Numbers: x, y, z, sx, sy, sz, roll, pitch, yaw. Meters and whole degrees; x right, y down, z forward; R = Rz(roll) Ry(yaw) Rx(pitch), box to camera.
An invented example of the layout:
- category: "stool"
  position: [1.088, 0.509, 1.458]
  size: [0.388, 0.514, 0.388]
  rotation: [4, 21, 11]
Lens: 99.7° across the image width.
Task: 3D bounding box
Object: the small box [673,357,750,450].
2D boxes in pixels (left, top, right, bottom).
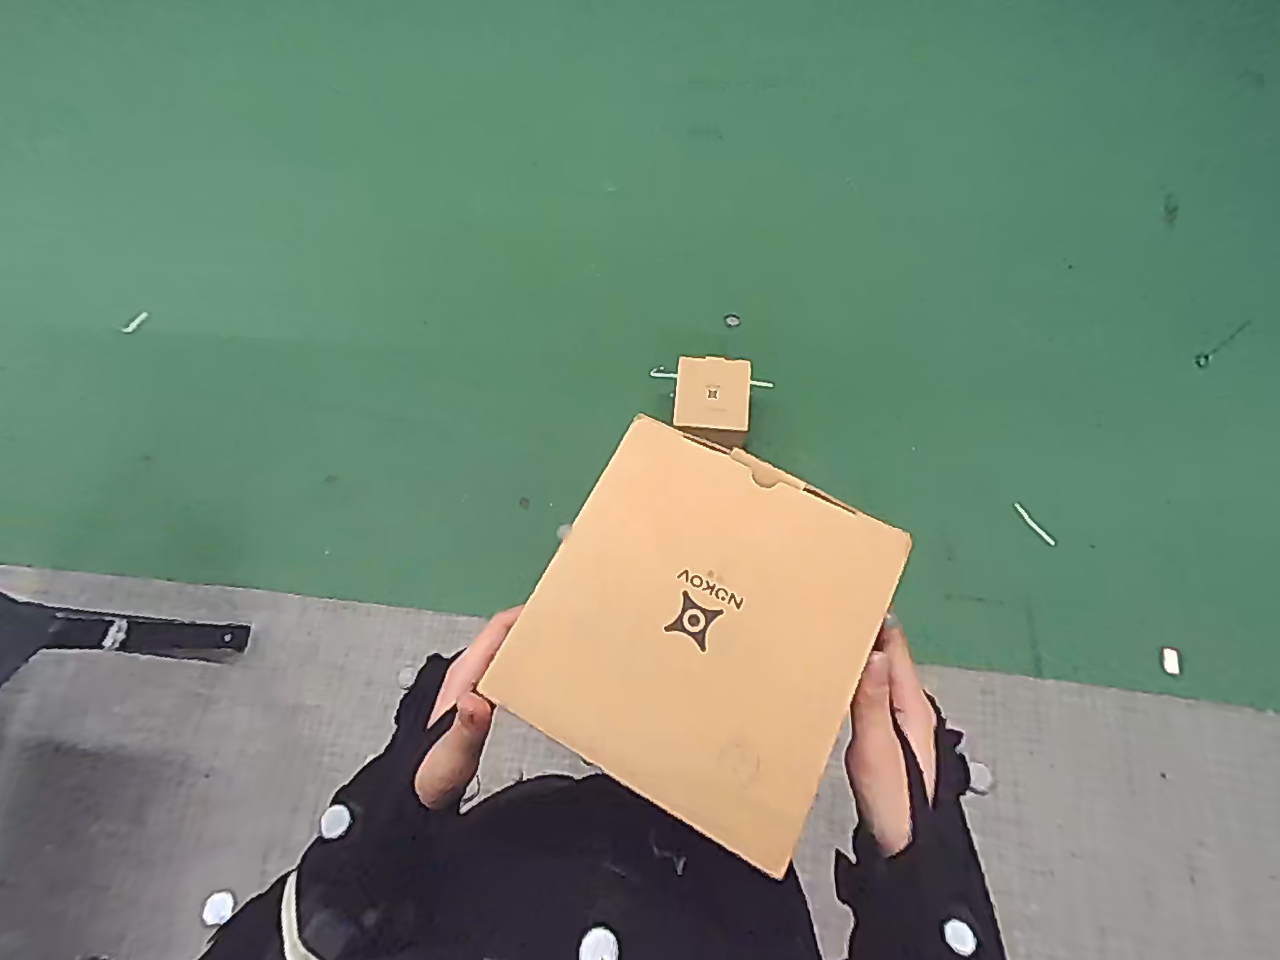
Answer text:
- category: "small box"
  position: [0.164, -0.169, 1.283]
  size: [0.168, 0.176, 0.179]
  rotation: [4, 74, 5]

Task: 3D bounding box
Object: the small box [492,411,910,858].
- category: "small box"
  position: [0.040, 0.091, 0.355]
  size: [0.168, 0.176, 0.179]
  rotation: [25, 74, 13]
